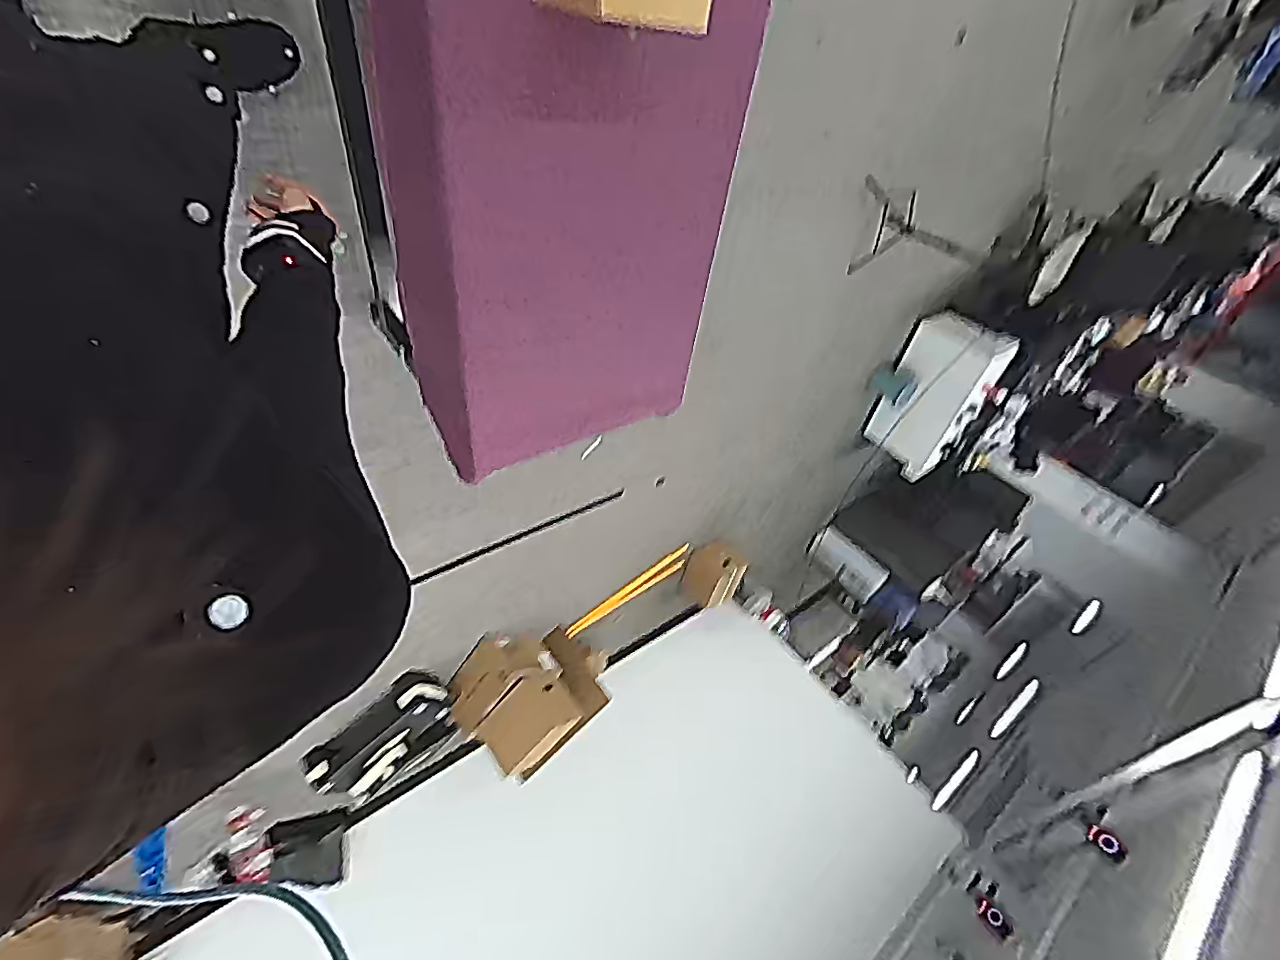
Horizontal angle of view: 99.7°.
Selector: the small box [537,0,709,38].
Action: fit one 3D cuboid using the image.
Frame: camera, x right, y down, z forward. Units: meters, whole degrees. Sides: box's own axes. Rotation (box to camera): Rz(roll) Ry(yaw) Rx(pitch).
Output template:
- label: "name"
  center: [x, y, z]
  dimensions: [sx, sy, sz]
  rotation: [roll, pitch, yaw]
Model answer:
- label: "small box"
  center: [-0.019, -0.680, 0.675]
  dimensions: [0.179, 0.176, 0.168]
  rotation: [-22, 142, -31]
